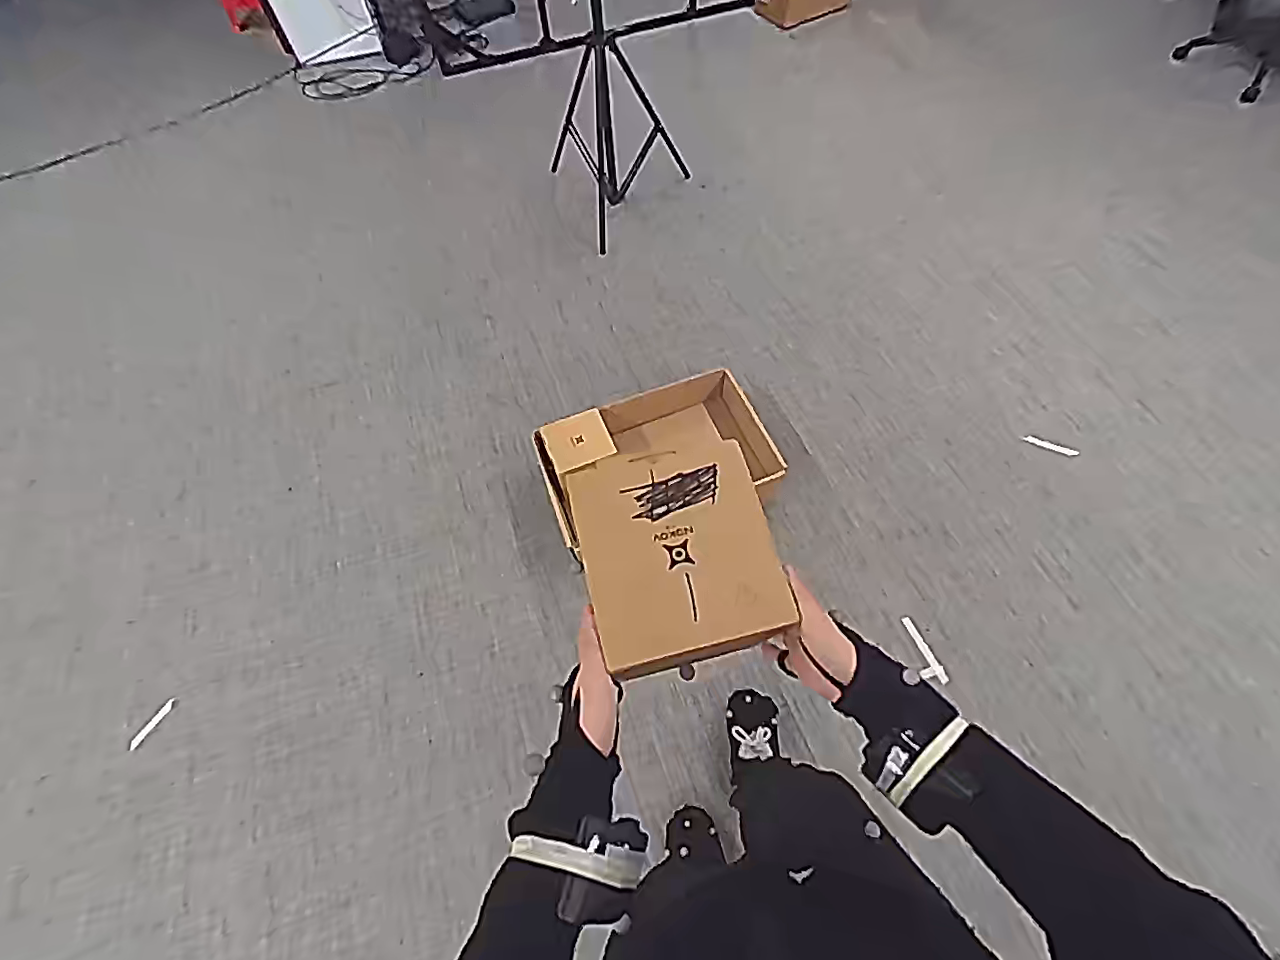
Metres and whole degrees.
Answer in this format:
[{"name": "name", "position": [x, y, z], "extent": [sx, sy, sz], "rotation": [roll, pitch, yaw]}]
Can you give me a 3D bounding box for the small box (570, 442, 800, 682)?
[{"name": "small box", "position": [0.030, 0.088, 0.537], "extent": [0.168, 0.176, 0.179], "rotation": [-13, 67, -7]}]
